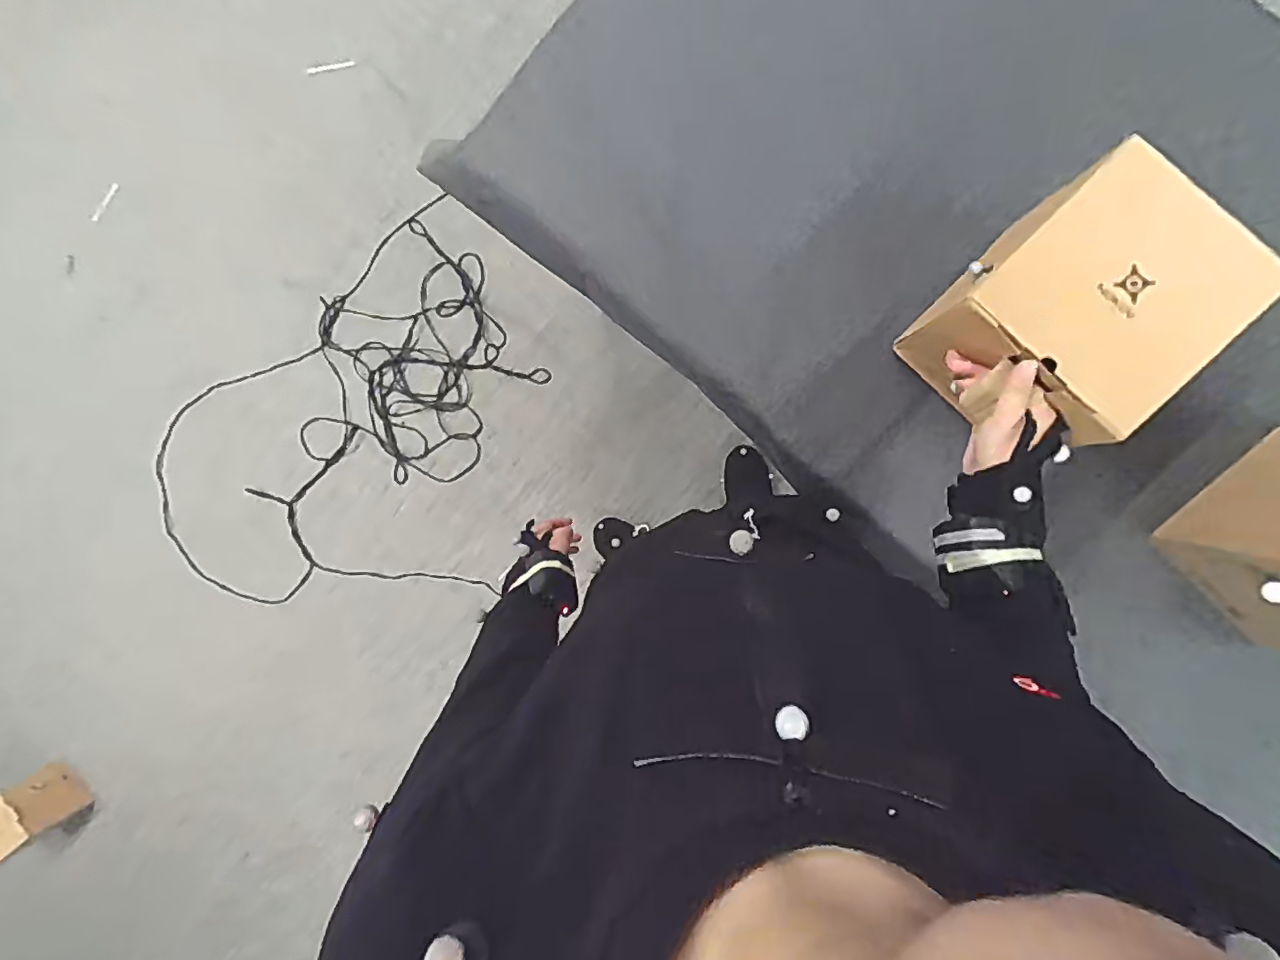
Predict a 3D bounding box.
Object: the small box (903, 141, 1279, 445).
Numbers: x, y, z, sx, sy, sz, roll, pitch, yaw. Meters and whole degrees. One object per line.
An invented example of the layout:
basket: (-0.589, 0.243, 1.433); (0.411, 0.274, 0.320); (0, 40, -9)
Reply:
small box: (0.387, -0.149, 0.501); (0.168, 0.176, 0.179); (45, 94, 2)

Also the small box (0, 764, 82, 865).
small box: (-1.783, 0.968, 1.560); (0.179, 0.176, 0.168); (-38, 87, 8)
